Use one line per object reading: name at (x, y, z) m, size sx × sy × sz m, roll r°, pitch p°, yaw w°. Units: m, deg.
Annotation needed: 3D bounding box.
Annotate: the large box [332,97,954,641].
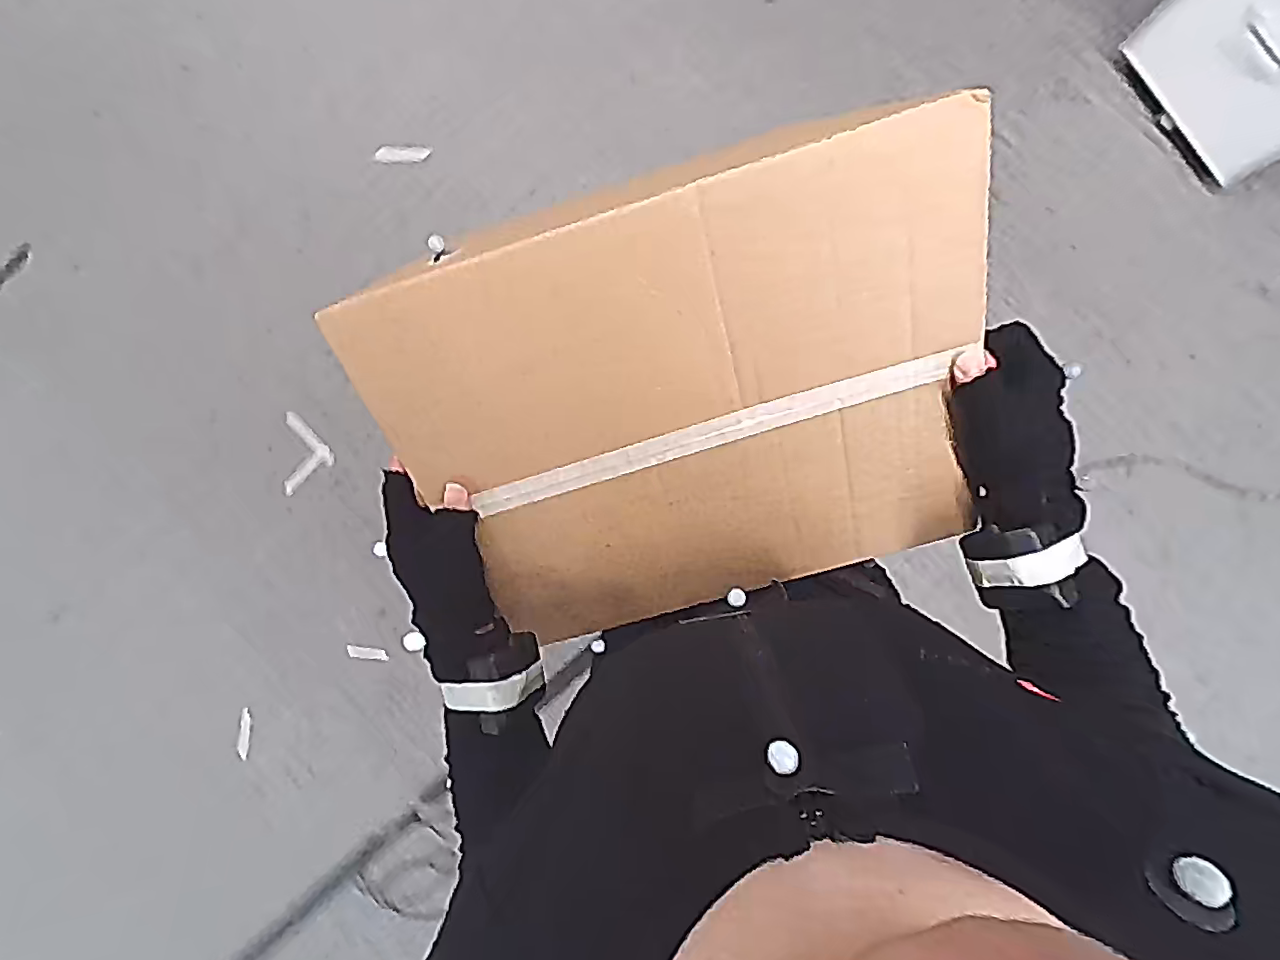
large box at (0.019, -0.109, 0.529) m, size 0.408 × 0.320 × 0.320 m, roll -17°, pitch 121°, yaw 5°
